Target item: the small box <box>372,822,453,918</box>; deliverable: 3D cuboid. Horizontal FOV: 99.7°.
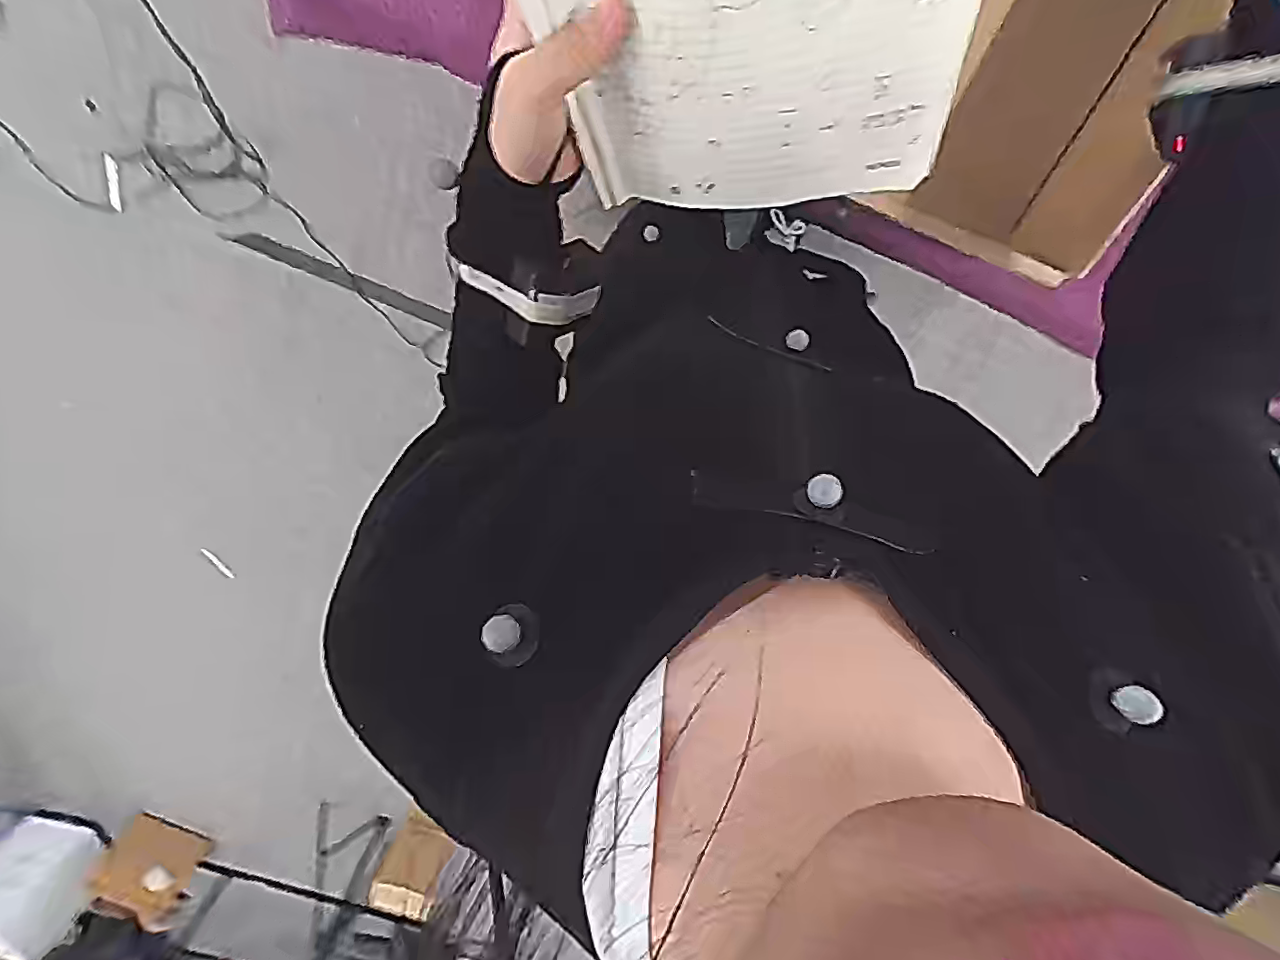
[{"bbox_3d":[-0.692,1.191,1.654,0.168,0.176,0.179,20,122,-6],"label":"small box"}]
